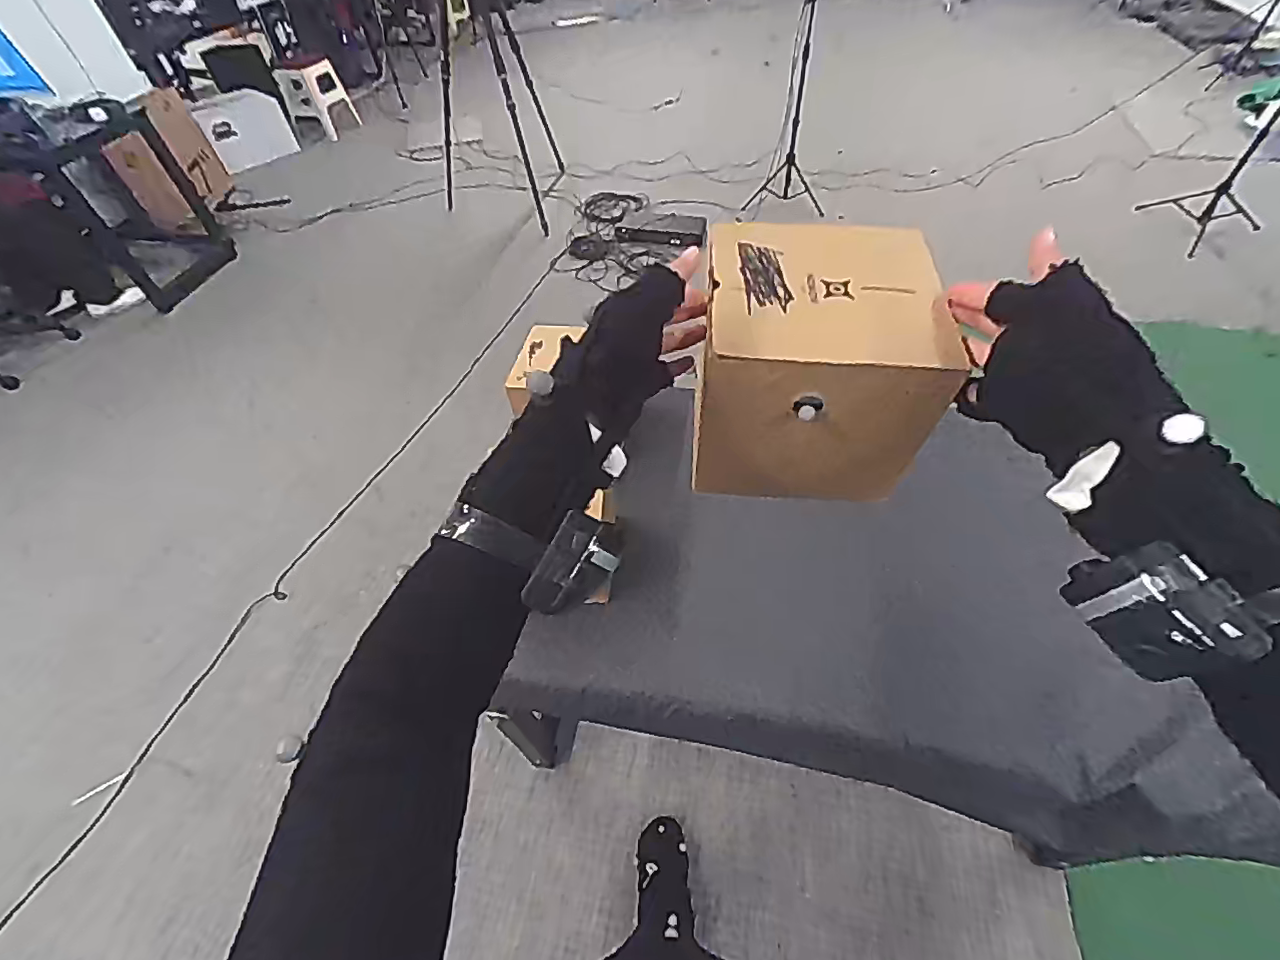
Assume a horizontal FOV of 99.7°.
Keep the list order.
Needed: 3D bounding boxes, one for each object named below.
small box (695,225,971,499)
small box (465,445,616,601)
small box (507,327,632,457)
[{"bbox_3d":[0.141,-0.096,0.471,0.179,0.176,0.168,3,56,3],"label":"small box"},{"bbox_3d":[-0.130,0.066,0.789,0.179,0.176,0.168,0,51,2],"label":"small box"},{"bbox_3d":[-0.113,-0.148,0.964,0.179,0.176,0.168,7,52,8],"label":"small box"}]
